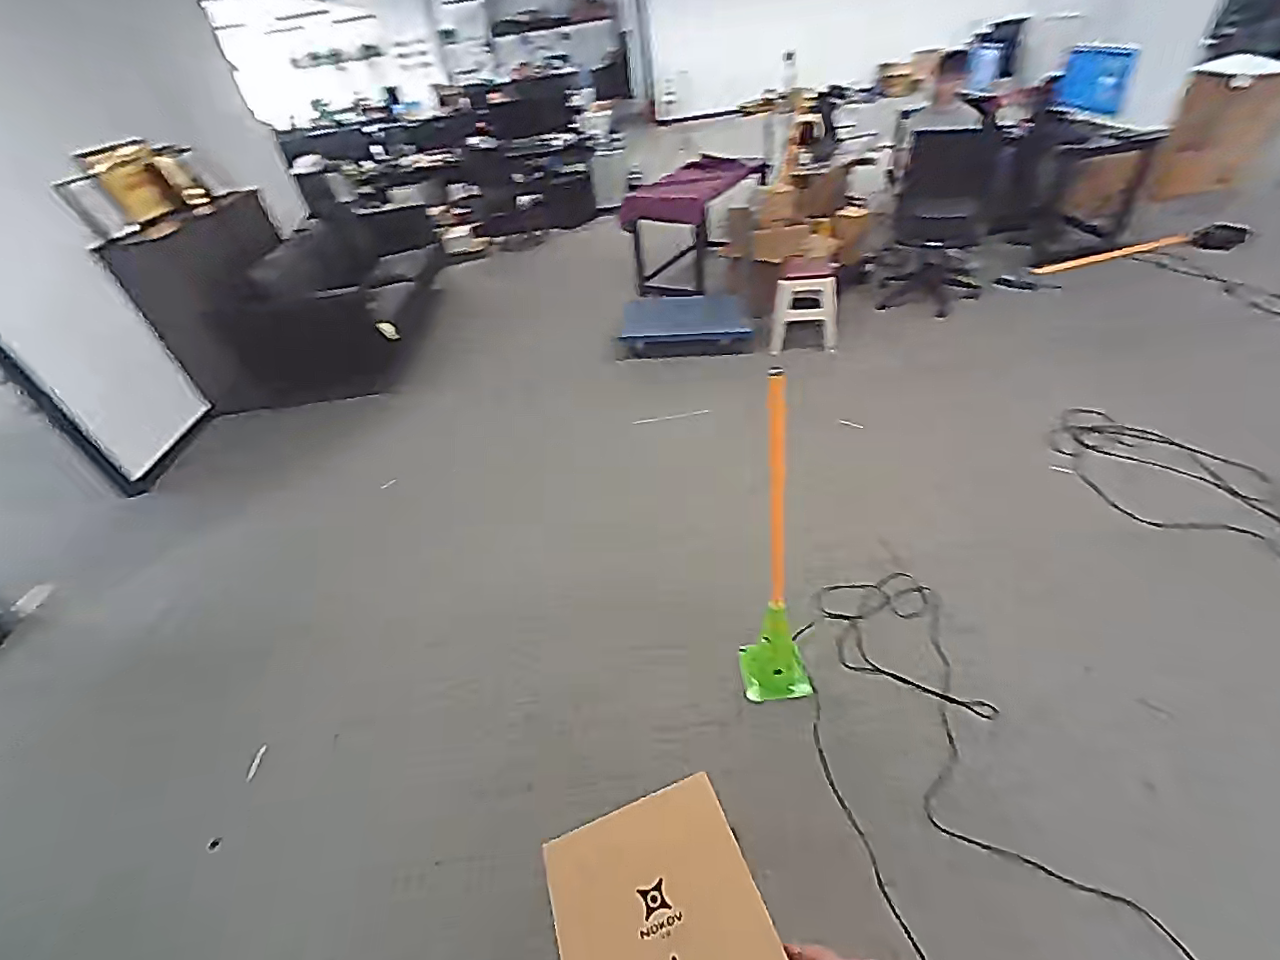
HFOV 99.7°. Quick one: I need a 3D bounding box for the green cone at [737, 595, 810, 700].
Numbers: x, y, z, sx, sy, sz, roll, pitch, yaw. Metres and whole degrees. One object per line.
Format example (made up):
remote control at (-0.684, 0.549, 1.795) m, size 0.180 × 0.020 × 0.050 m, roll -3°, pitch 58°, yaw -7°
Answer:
green cone at (0.411, 0.482, 1.642) m, size 0.202 × 0.368 × 0.200 m, roll -7°, pitch 40°, yaw 1°
